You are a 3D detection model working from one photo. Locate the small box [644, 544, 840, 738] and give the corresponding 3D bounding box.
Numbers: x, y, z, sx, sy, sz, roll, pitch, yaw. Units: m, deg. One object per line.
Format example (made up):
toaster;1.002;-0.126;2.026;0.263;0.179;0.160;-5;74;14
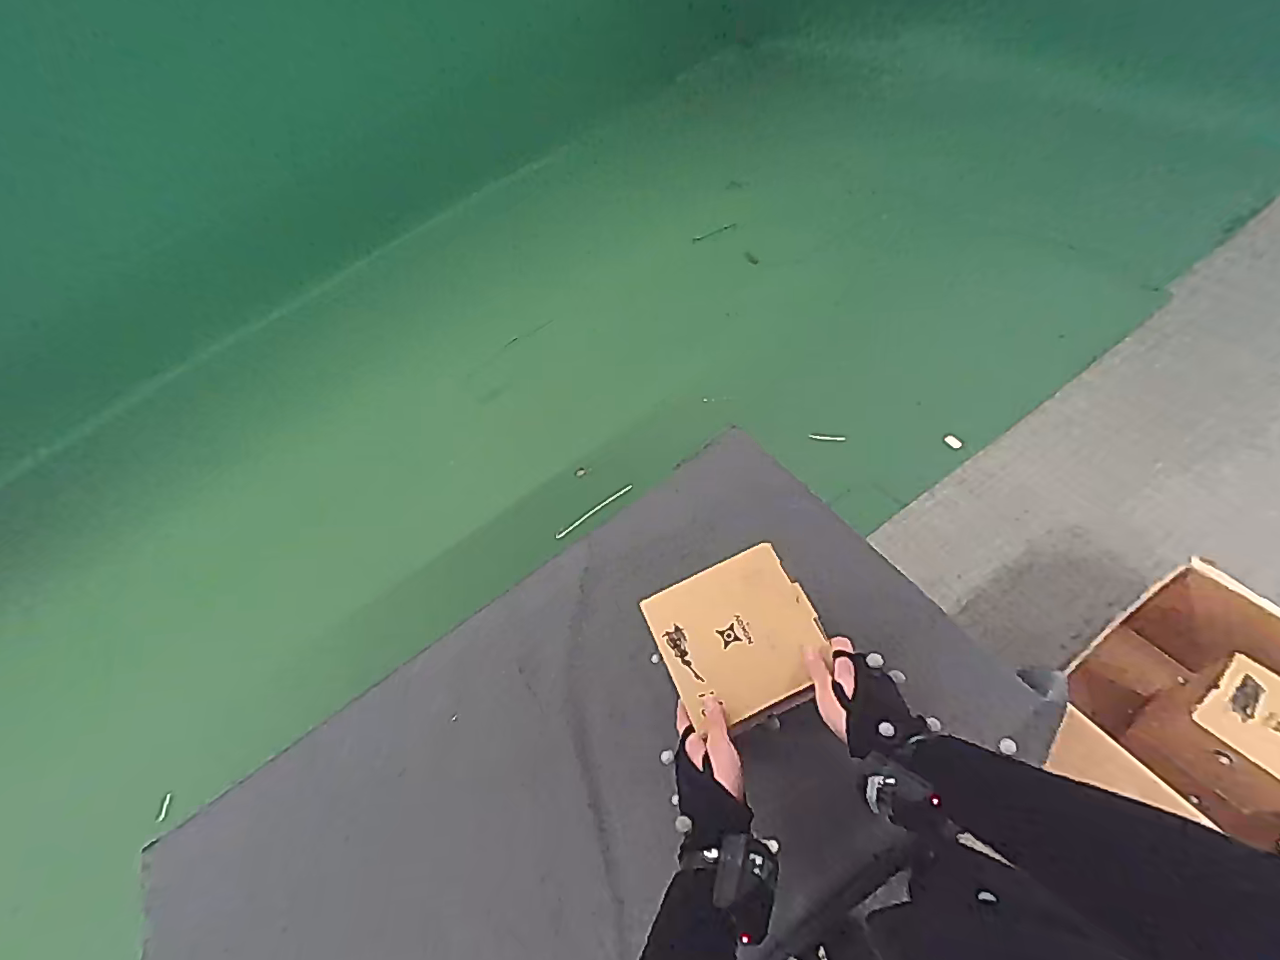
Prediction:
small box;0.123;0.211;0.695;0.179;0.176;0.168;-26;62;-3
